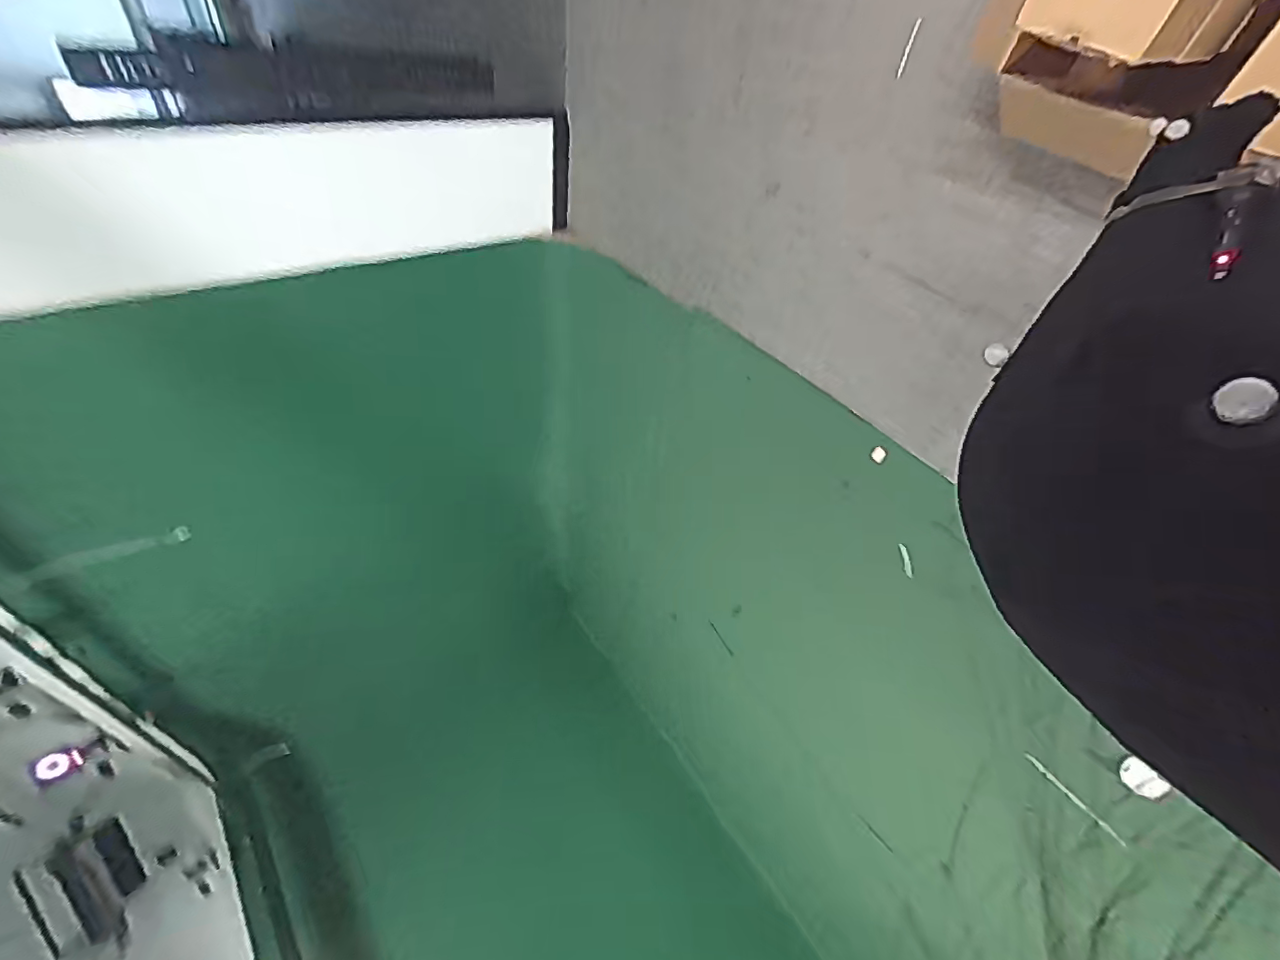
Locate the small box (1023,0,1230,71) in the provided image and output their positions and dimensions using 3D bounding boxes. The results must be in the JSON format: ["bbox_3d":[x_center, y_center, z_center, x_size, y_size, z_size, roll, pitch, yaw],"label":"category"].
[{"bbox_3d":[0.638,-0.636,0.669,0.168,0.176,0.179,45,146,28],"label":"small box"}]
